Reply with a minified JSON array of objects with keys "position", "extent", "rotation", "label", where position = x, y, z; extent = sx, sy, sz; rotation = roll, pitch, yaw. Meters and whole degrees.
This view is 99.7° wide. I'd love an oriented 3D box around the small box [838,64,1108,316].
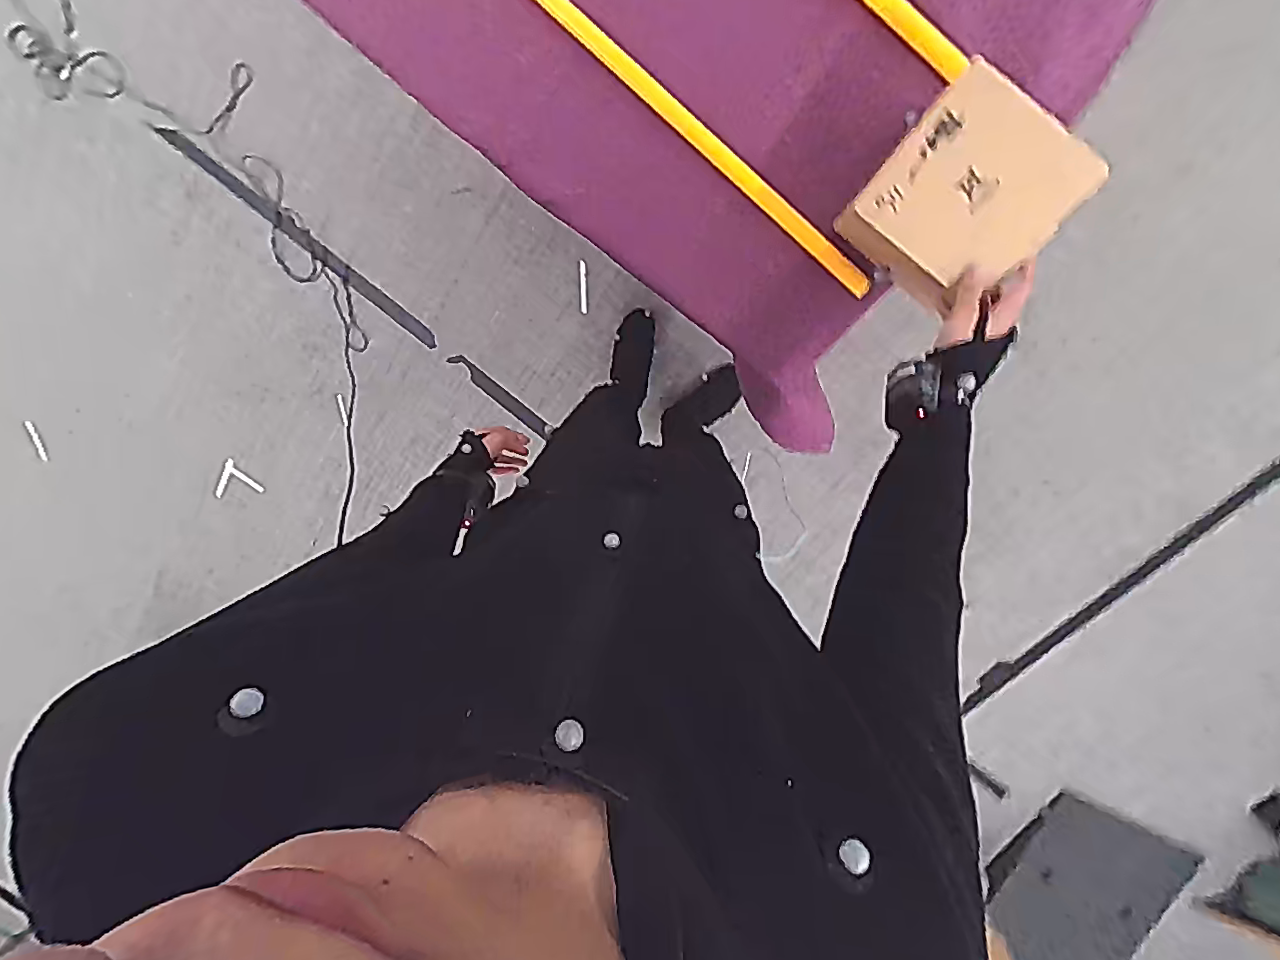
[{"position":[0.357,-0.313,0.621],"extent":[0.179,0.176,0.168],"rotation":[40,111,-3],"label":"small box"}]
